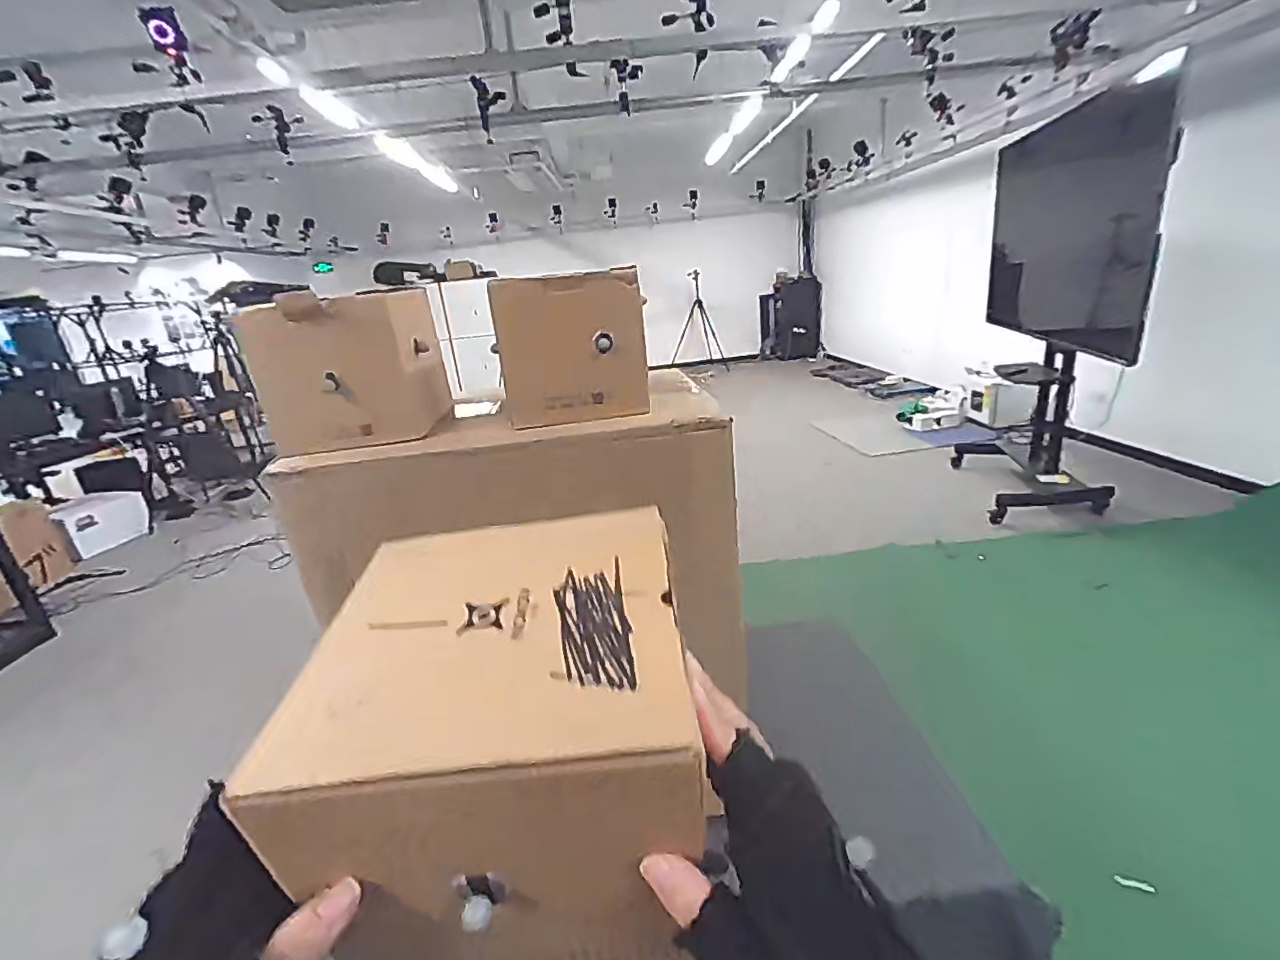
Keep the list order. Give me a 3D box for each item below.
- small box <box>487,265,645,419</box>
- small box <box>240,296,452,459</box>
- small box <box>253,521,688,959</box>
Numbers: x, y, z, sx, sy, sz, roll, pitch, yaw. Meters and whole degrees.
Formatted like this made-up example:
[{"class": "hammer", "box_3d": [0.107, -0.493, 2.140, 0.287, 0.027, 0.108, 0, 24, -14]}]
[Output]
[{"class": "small box", "box_3d": [-0.087, -0.177, 0.692, 0.168, 0.176, 0.179, -5, 21, -4]}, {"class": "small box", "box_3d": [-0.353, -0.132, 0.693, 0.168, 0.176, 0.179, -9, 22, -5]}, {"class": "small box", "box_3d": [-0.066, 0.144, 0.322, 0.179, 0.176, 0.168, -5, 28, 0]}]
